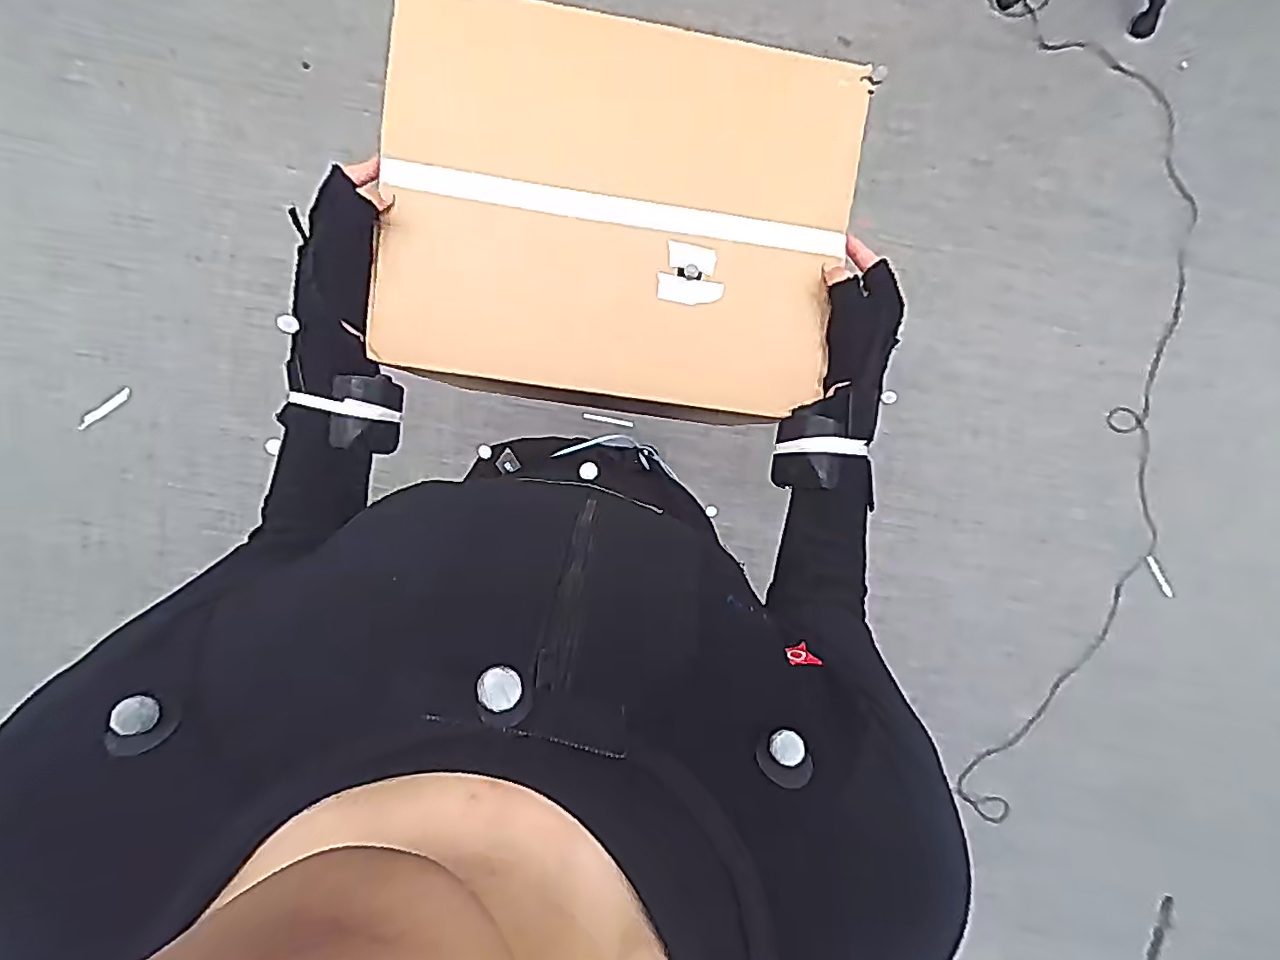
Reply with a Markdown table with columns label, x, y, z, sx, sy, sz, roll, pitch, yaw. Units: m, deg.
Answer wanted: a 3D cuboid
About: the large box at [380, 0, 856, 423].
| label | x | y | z | sx | sy | sz | roll | pitch | yaw |
| --- | --- | --- | --- | --- | --- | --- | --- | --- | --- |
| large box | -0.032 | -0.243 | 0.628 | 0.408 | 0.320 | 0.320 | 7 | 96 | -6 |
